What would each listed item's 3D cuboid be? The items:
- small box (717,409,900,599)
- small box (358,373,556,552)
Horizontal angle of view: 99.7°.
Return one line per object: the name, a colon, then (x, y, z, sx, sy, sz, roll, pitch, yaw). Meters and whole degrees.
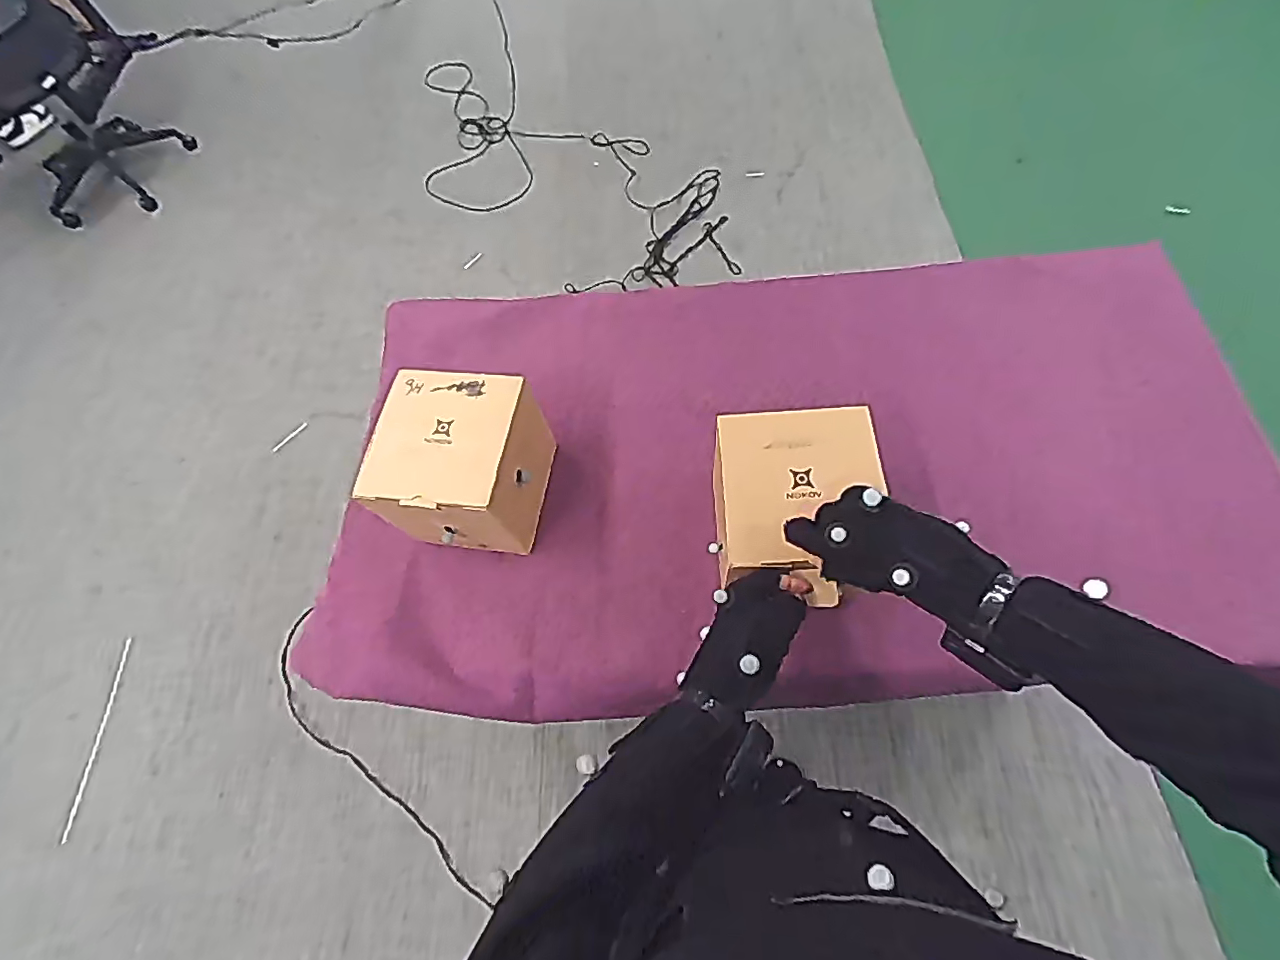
small box: (0.177, 0.039, 0.629, 0.168, 0.176, 0.179, -3, 64, 5)
small box: (-0.219, -0.016, 0.700, 0.168, 0.176, 0.179, 5, 67, 9)
